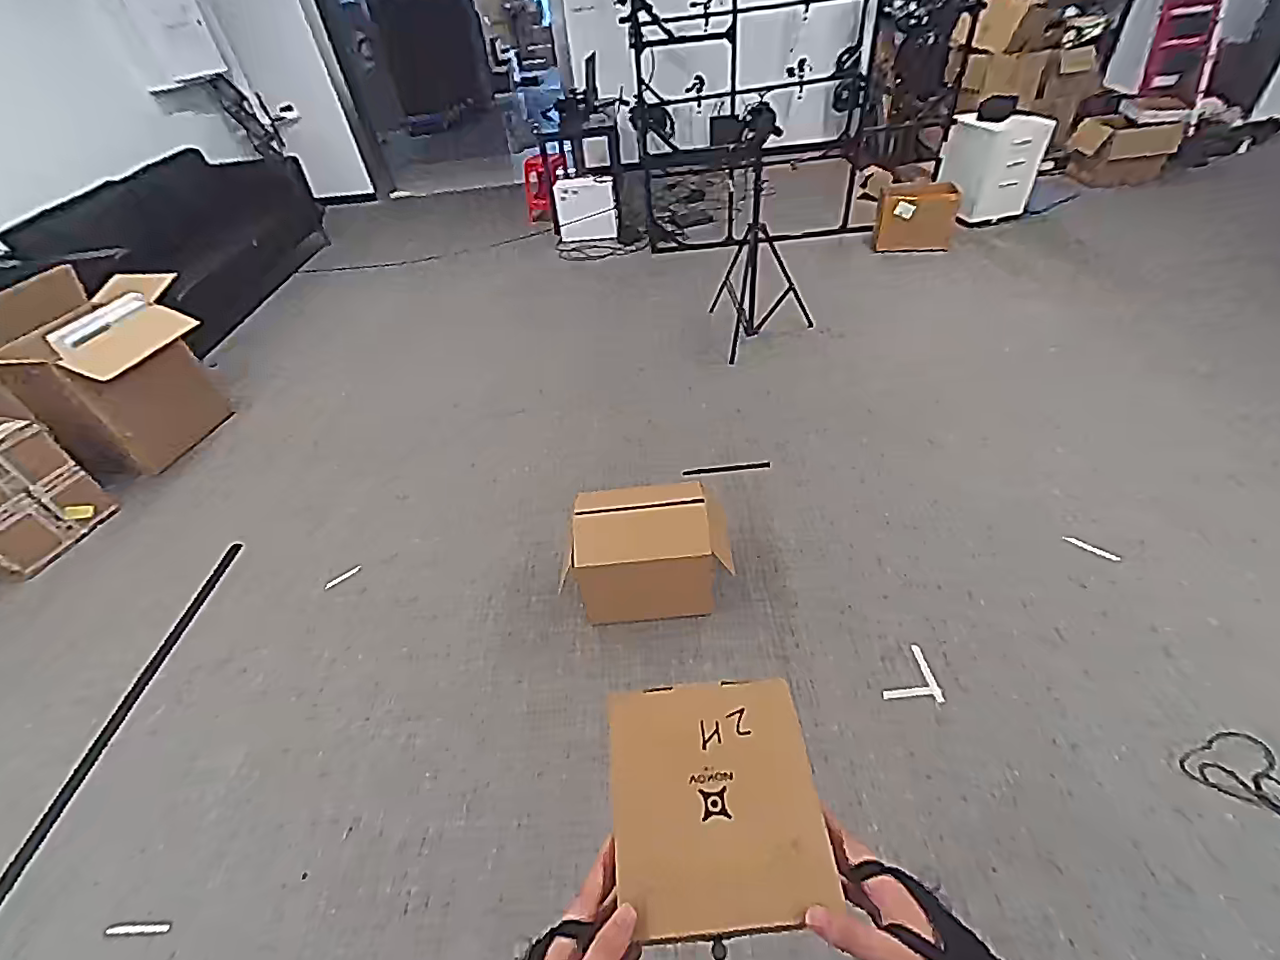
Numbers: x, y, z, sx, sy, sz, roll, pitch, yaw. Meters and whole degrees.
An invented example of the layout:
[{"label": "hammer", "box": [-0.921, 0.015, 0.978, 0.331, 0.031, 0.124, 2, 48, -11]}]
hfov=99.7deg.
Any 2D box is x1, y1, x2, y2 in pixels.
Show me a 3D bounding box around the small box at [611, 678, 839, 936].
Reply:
[{"label": "small box", "box": [0.062, 0.307, 0.505, 0.168, 0.176, 0.179, -4, 48, -3]}]
